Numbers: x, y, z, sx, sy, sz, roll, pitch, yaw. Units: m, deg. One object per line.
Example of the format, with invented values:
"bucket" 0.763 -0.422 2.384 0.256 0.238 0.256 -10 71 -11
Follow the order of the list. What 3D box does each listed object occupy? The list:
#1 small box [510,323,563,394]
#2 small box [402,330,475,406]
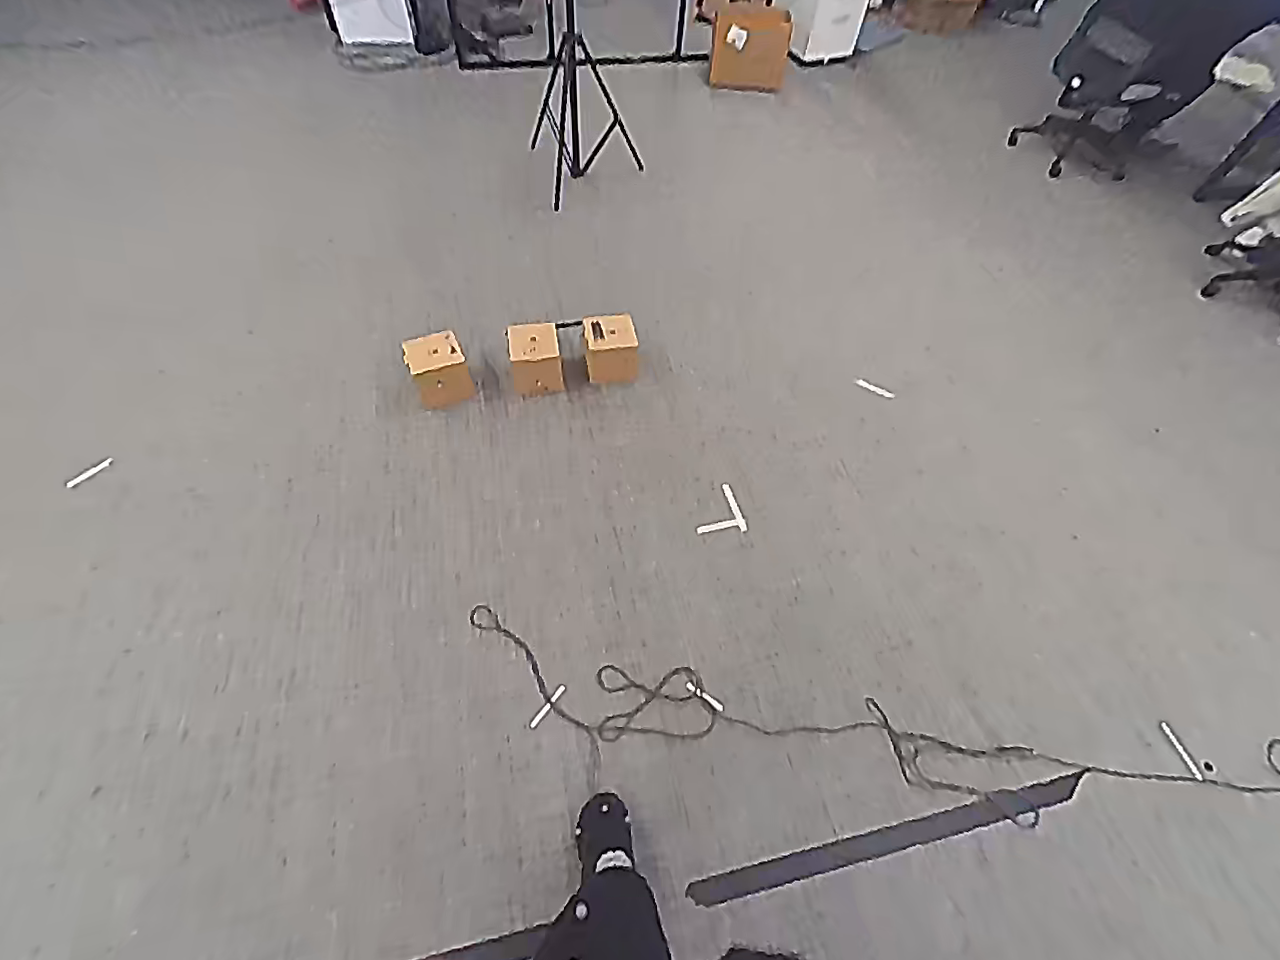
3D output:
"small box" -0.364 -0.428 1.905 0.168 0.176 0.179 -7 58 -8
"small box" -0.685 -0.379 1.853 0.179 0.176 0.168 -21 61 -15
